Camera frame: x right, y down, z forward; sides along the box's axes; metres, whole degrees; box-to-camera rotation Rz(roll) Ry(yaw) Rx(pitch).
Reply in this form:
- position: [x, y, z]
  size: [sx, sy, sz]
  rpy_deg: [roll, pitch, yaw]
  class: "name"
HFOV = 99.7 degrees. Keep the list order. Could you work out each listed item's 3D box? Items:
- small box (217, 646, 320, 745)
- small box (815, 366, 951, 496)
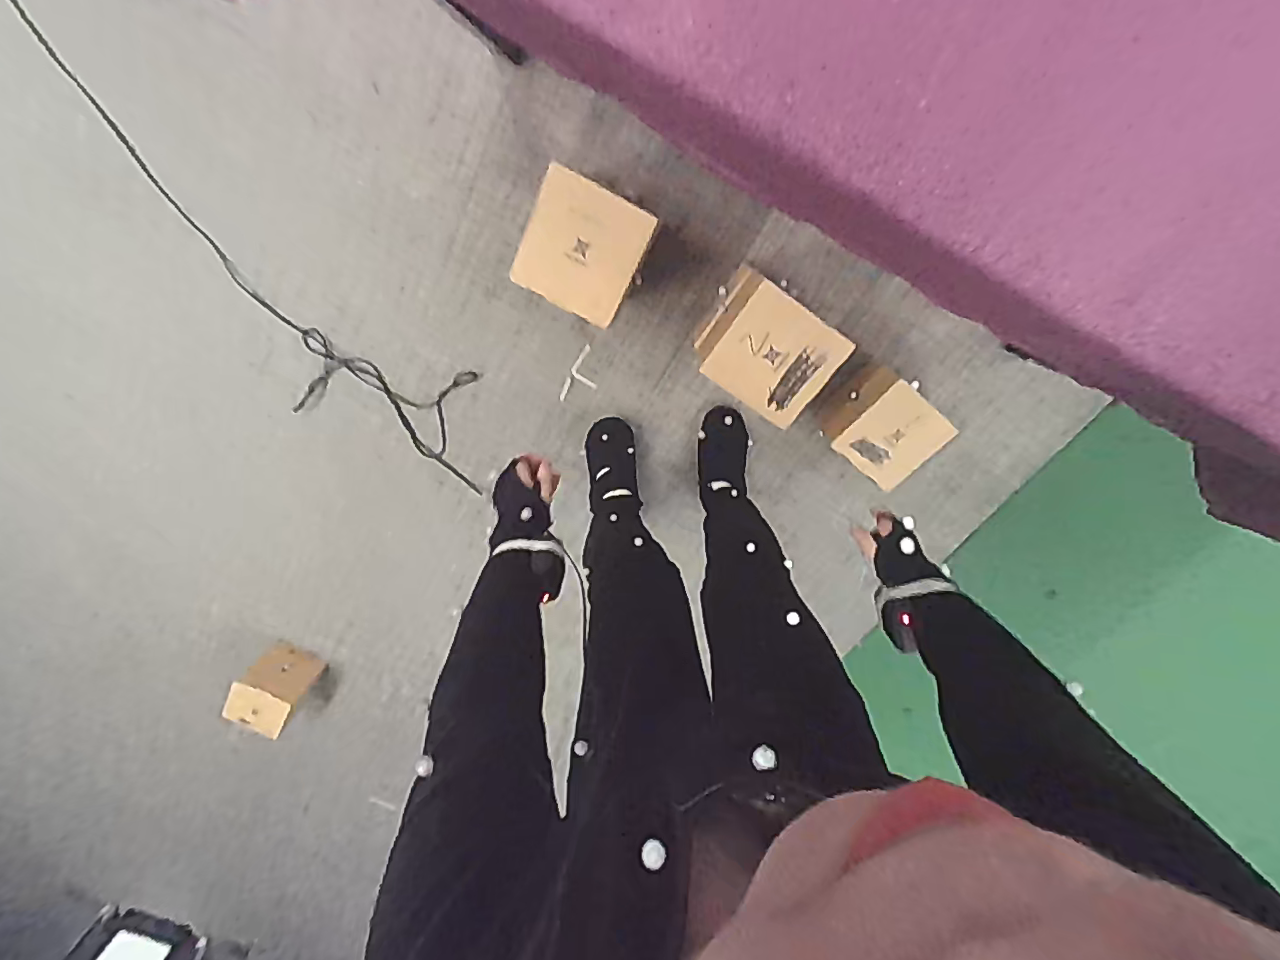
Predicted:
- position: [-1.075, 0.623, 1.578]
  size: [0.168, 0.176, 0.179]
  rpy_deg: [32, 113, -9]
  class: "small box"
- position: [0.481, -0.105, 1.105]
  size: [0.168, 0.176, 0.179]
  rpy_deg: [37, 112, -12]
  class: "small box"
